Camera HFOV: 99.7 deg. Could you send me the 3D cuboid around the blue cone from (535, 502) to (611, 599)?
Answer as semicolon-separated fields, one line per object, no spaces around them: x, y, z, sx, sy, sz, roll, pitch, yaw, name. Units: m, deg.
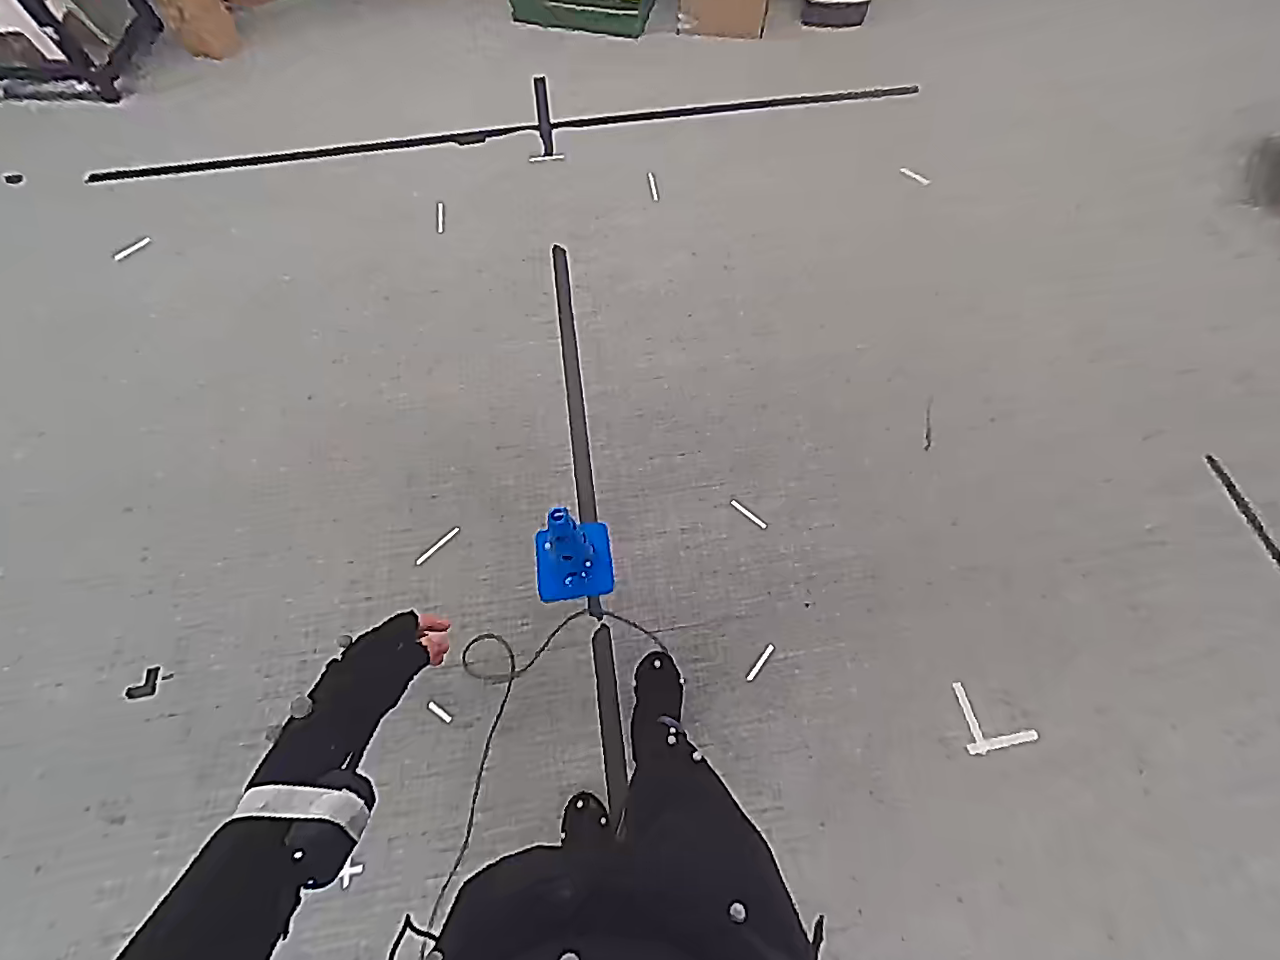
-0.177;0.146;1.276;0.193;0.380;0.192;-9;66;-4;blue cone
